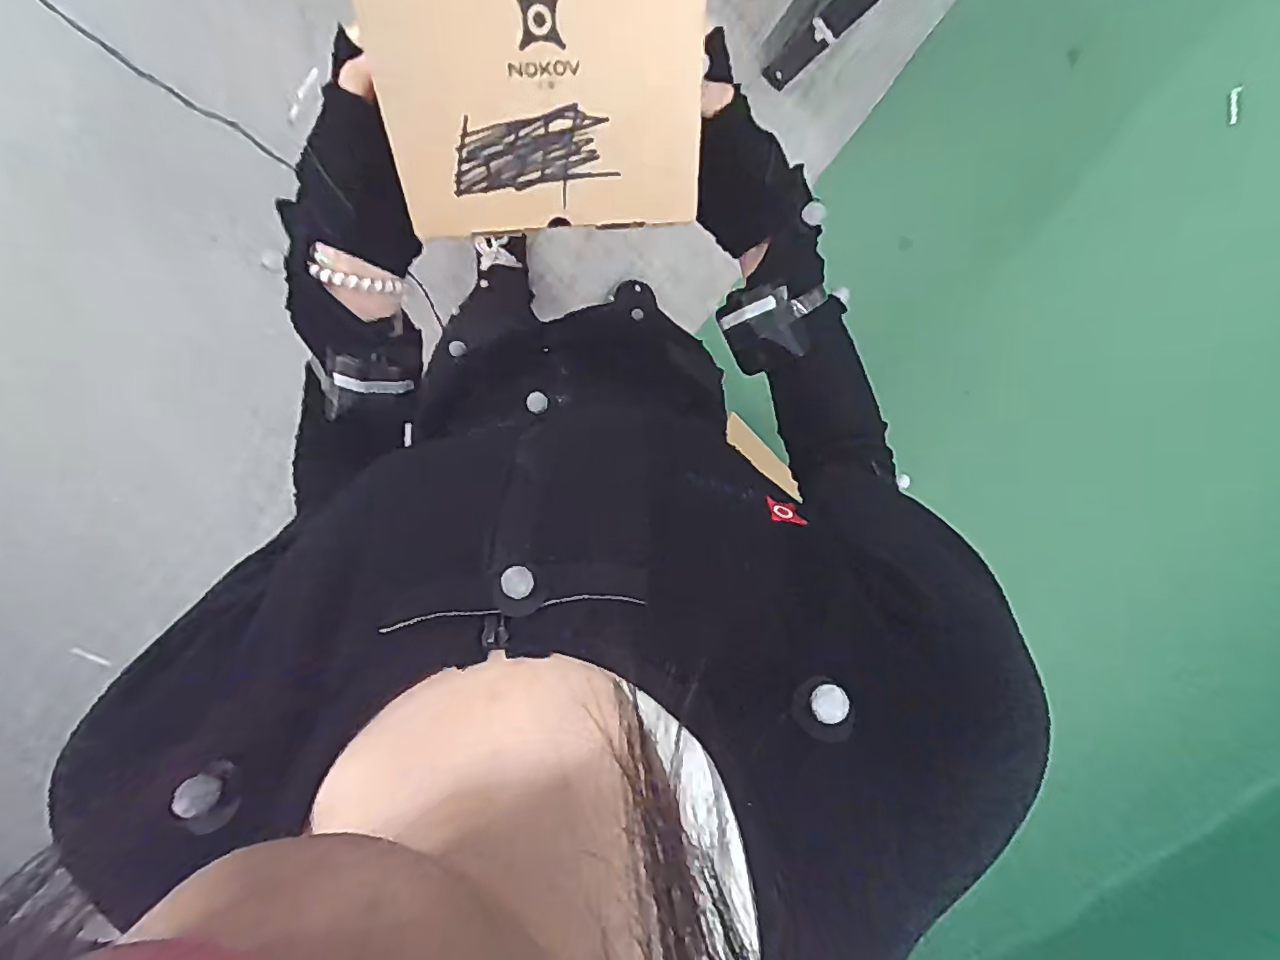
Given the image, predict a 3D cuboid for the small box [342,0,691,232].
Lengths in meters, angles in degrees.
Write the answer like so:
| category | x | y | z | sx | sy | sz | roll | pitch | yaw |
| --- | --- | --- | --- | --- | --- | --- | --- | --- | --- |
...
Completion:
| category | x | y | z | sx | sy | sz | roll | pitch | yaw |
| --- | --- | --- | --- | --- | --- | --- | --- | --- | --- |
| small box | -0.066 | -0.268 | 0.322 | 0.168 | 0.176 | 0.179 | -7 | 131 | -5 |
